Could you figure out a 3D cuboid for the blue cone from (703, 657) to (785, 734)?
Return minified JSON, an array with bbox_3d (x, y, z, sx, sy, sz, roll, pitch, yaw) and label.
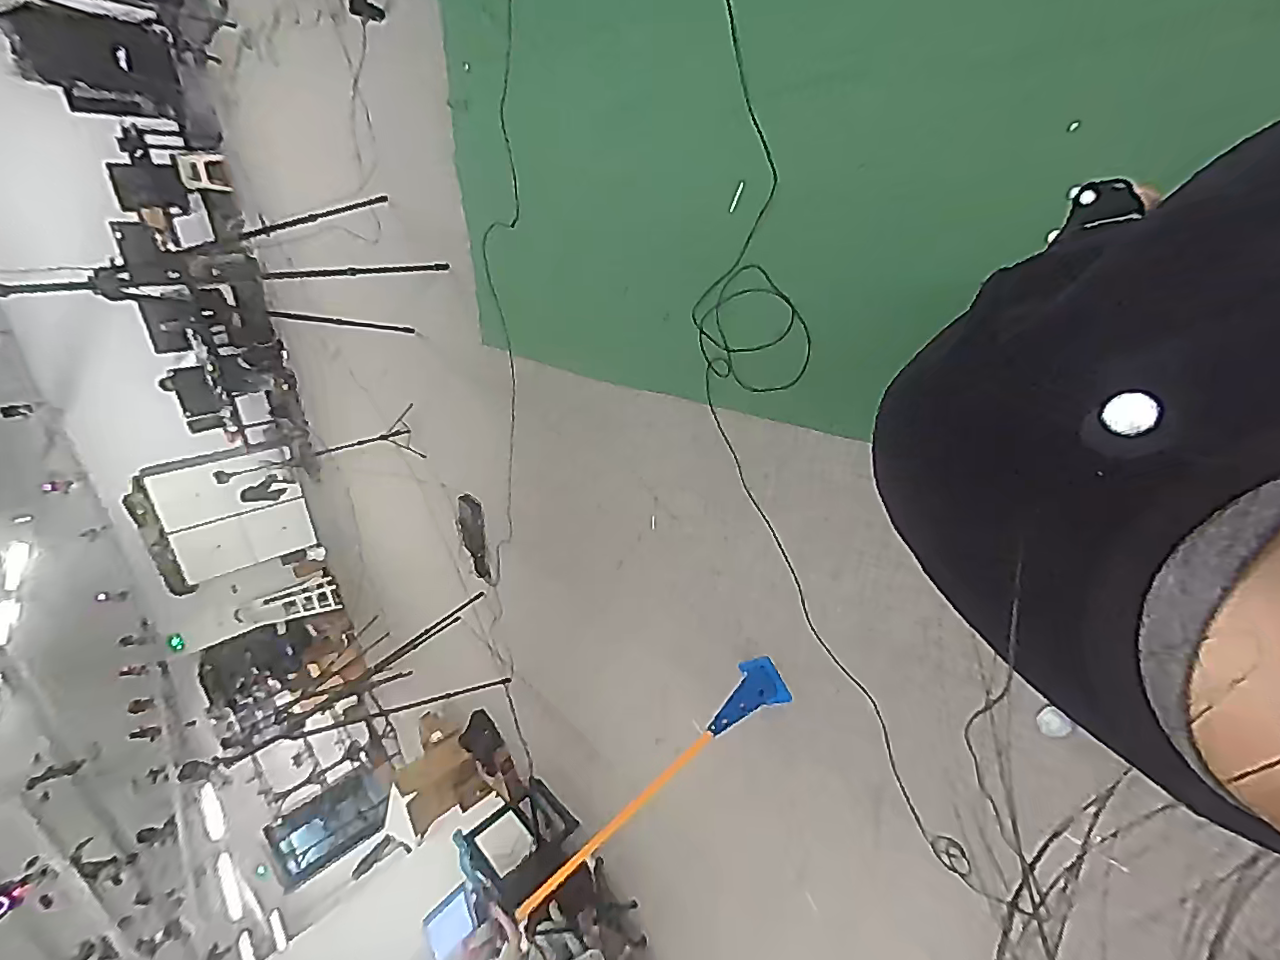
[{"bbox_3d":[0.388,0.890,2.153,0.192,0.380,0.193,58,143,9],"label":"blue cone"}]
